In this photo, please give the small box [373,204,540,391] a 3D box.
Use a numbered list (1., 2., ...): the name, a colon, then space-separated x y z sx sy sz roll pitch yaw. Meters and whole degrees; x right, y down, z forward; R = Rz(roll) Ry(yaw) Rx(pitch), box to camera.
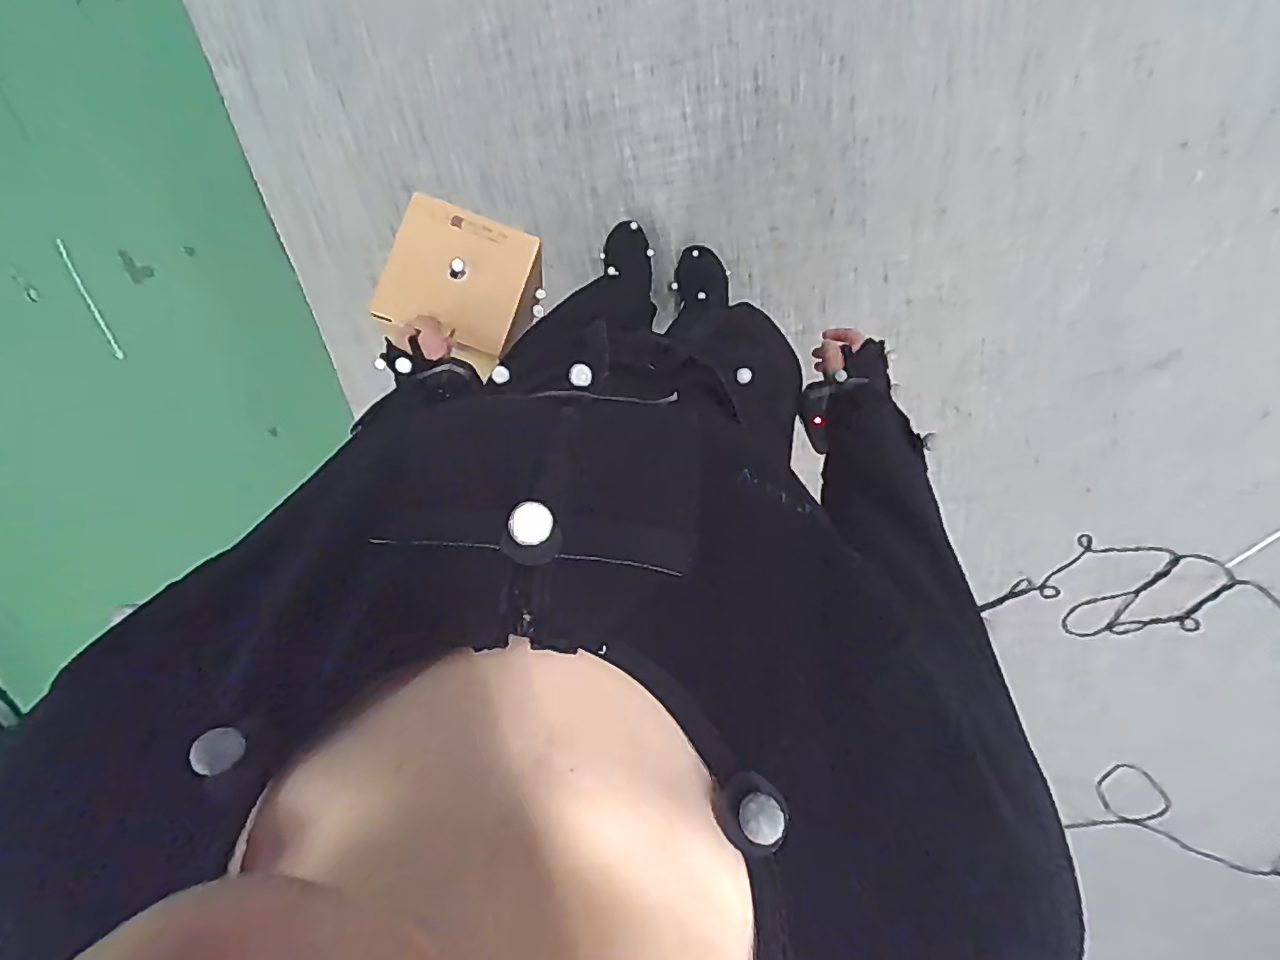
1. small box: -0.243 -0.247 0.760 0.168 0.179 0.176 17 82 -8
